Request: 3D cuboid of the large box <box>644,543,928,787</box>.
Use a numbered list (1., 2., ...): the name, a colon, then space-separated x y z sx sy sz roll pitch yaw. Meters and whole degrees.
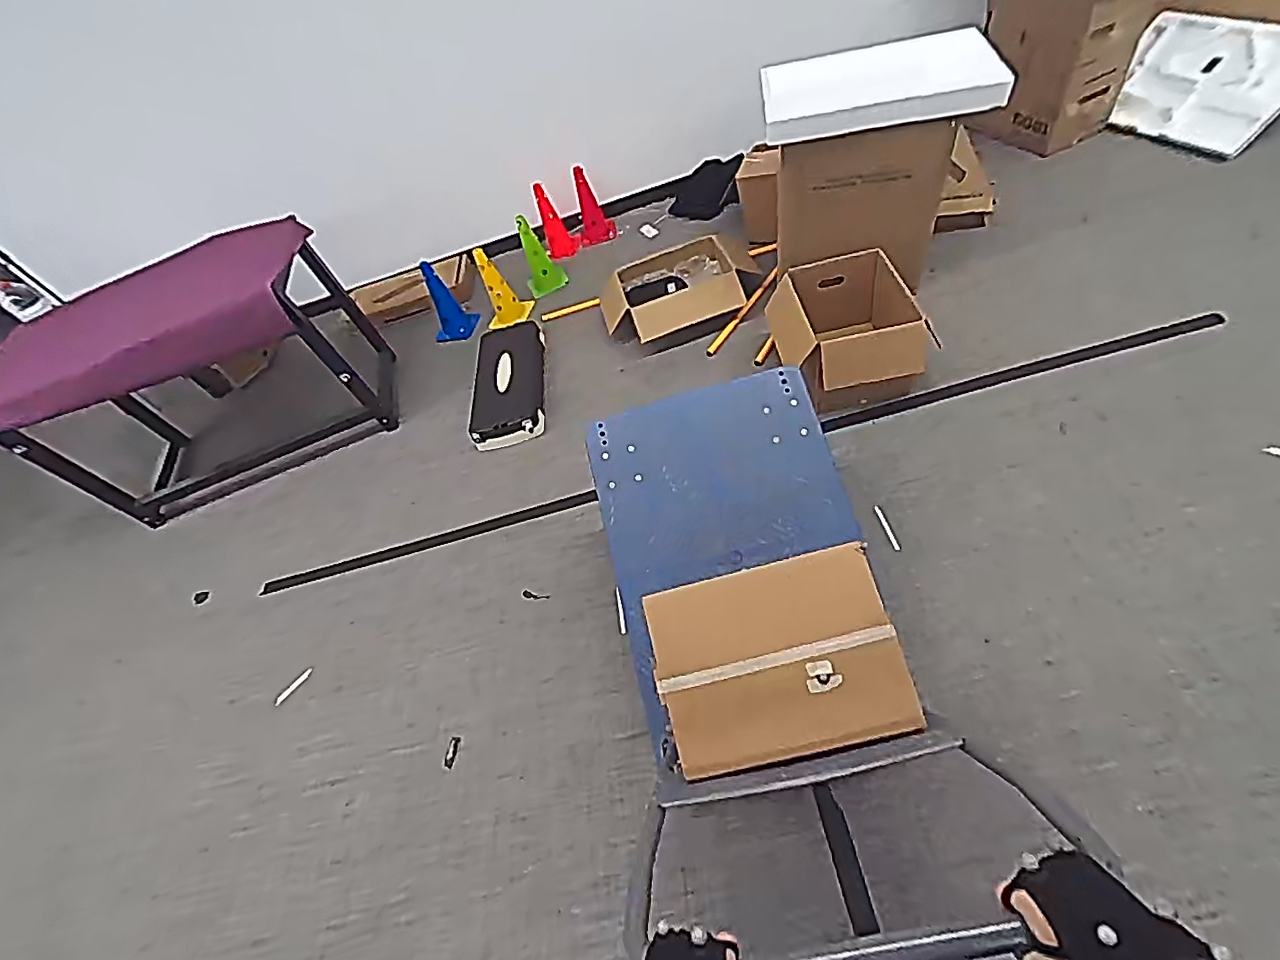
1. large box: 0.252 0.345 1.051 0.408 0.320 0.320 -16 74 4
